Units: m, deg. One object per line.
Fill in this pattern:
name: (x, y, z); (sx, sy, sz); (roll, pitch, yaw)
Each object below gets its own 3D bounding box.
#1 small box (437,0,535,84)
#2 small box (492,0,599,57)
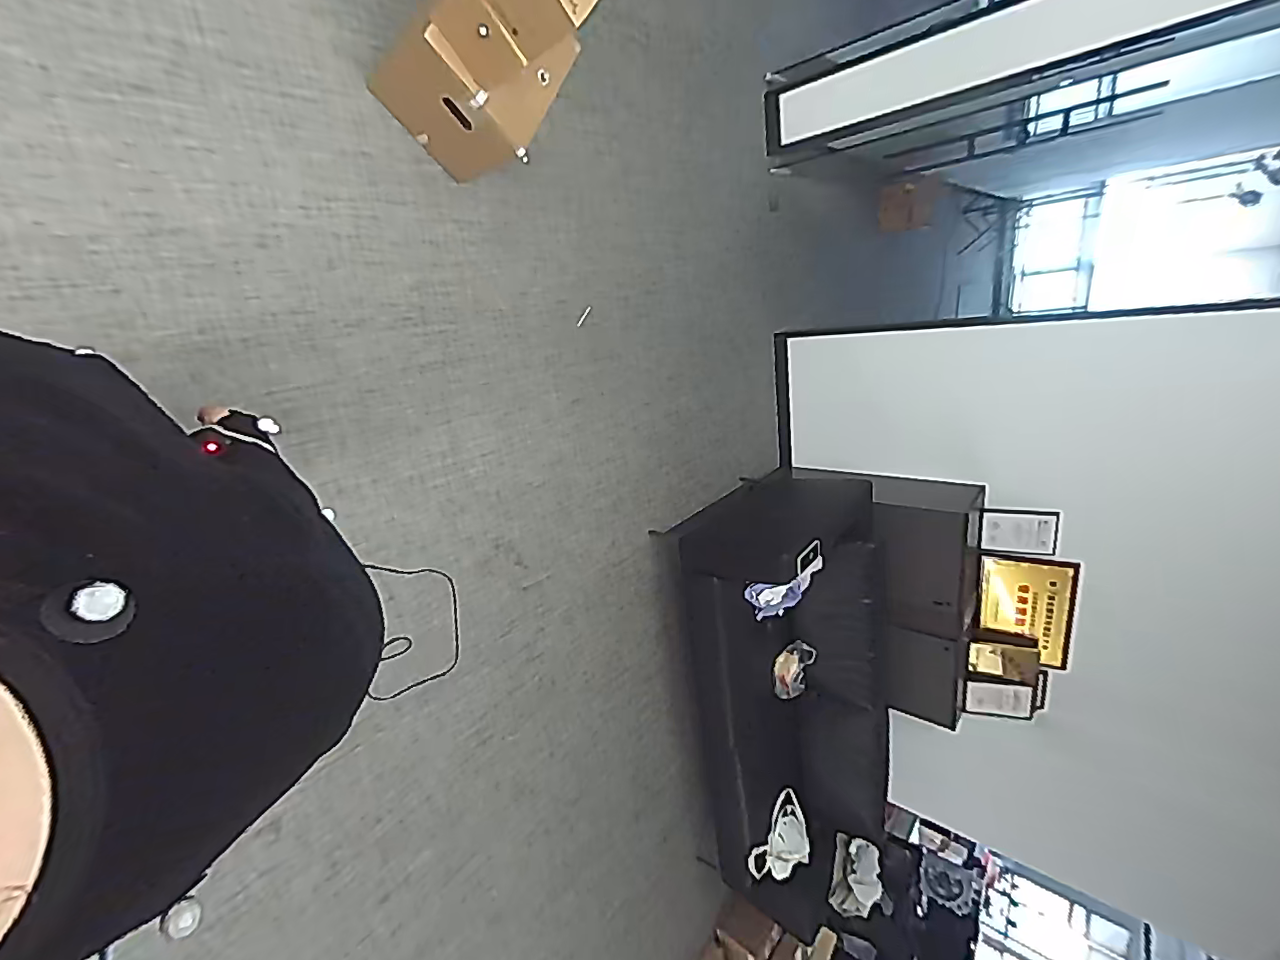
small box: (-0.313, -1.037, 1.215); (0.179, 0.176, 0.168); (47, 63, -39)
small box: (-0.189, -1.030, 1.108); (0.168, 0.176, 0.179); (42, 66, -41)
